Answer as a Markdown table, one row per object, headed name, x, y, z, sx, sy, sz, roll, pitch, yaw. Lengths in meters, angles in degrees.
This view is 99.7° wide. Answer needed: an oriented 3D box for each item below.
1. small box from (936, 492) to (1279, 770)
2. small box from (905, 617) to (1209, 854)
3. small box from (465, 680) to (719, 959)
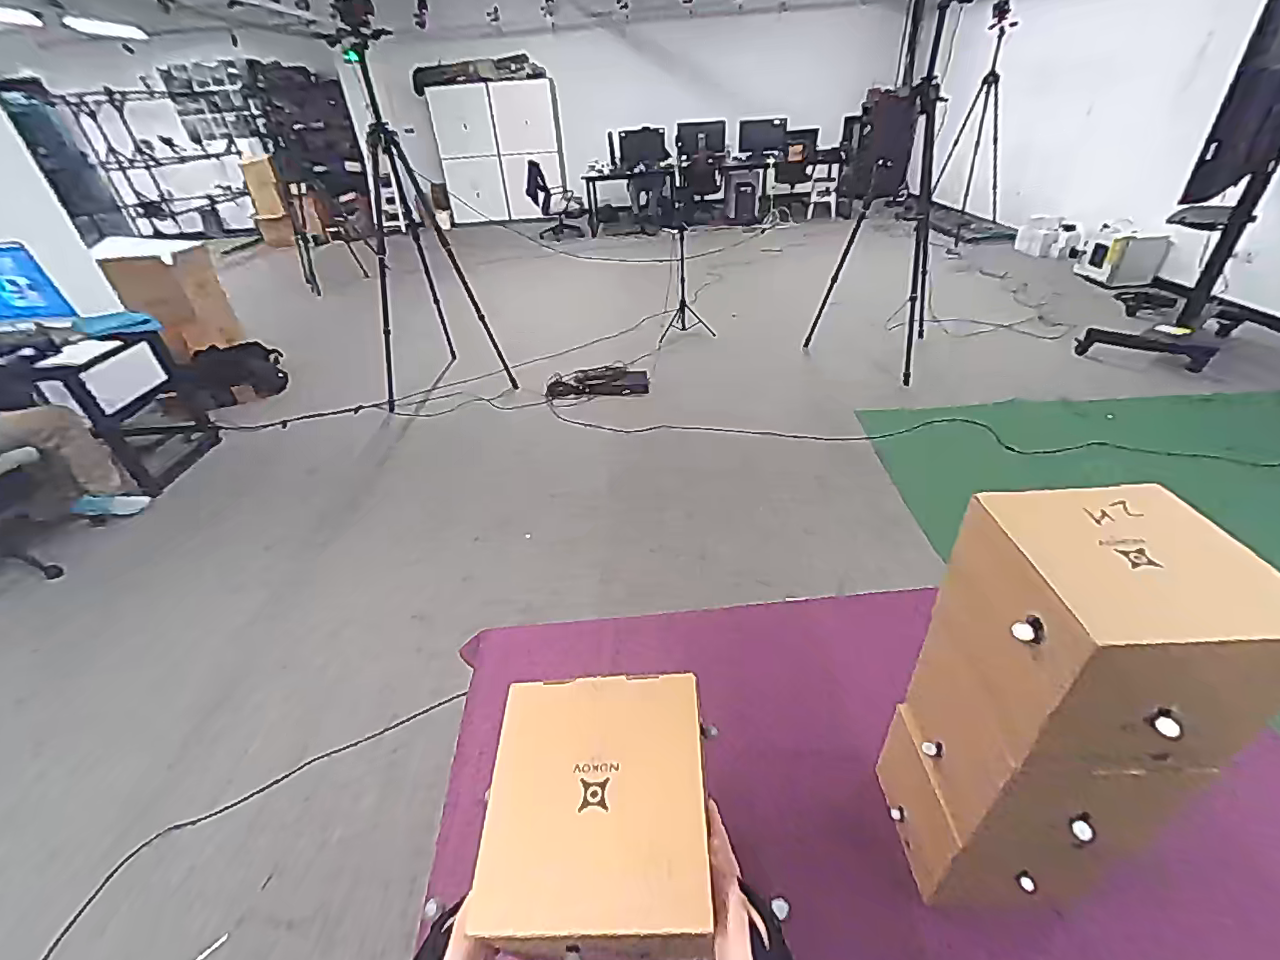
| name | x | y | z | sx | sy | sz | roll | pitch | yaw |
| --- | --- | --- | --- | --- | --- | --- | --- | --- | --- |
| small box | 0.392 | 0.131 | 0.474 | 0.168 | 0.176 | 0.179 | -2 | 34 | 3 |
| small box | 0.405 | 0.265 | 0.569 | 0.168 | 0.176 | 0.179 | -1 | 36 | 4 |
| small box | -0.024 | 0.295 | 0.460 | 0.168 | 0.176 | 0.179 | -5 | 43 | 5 |
